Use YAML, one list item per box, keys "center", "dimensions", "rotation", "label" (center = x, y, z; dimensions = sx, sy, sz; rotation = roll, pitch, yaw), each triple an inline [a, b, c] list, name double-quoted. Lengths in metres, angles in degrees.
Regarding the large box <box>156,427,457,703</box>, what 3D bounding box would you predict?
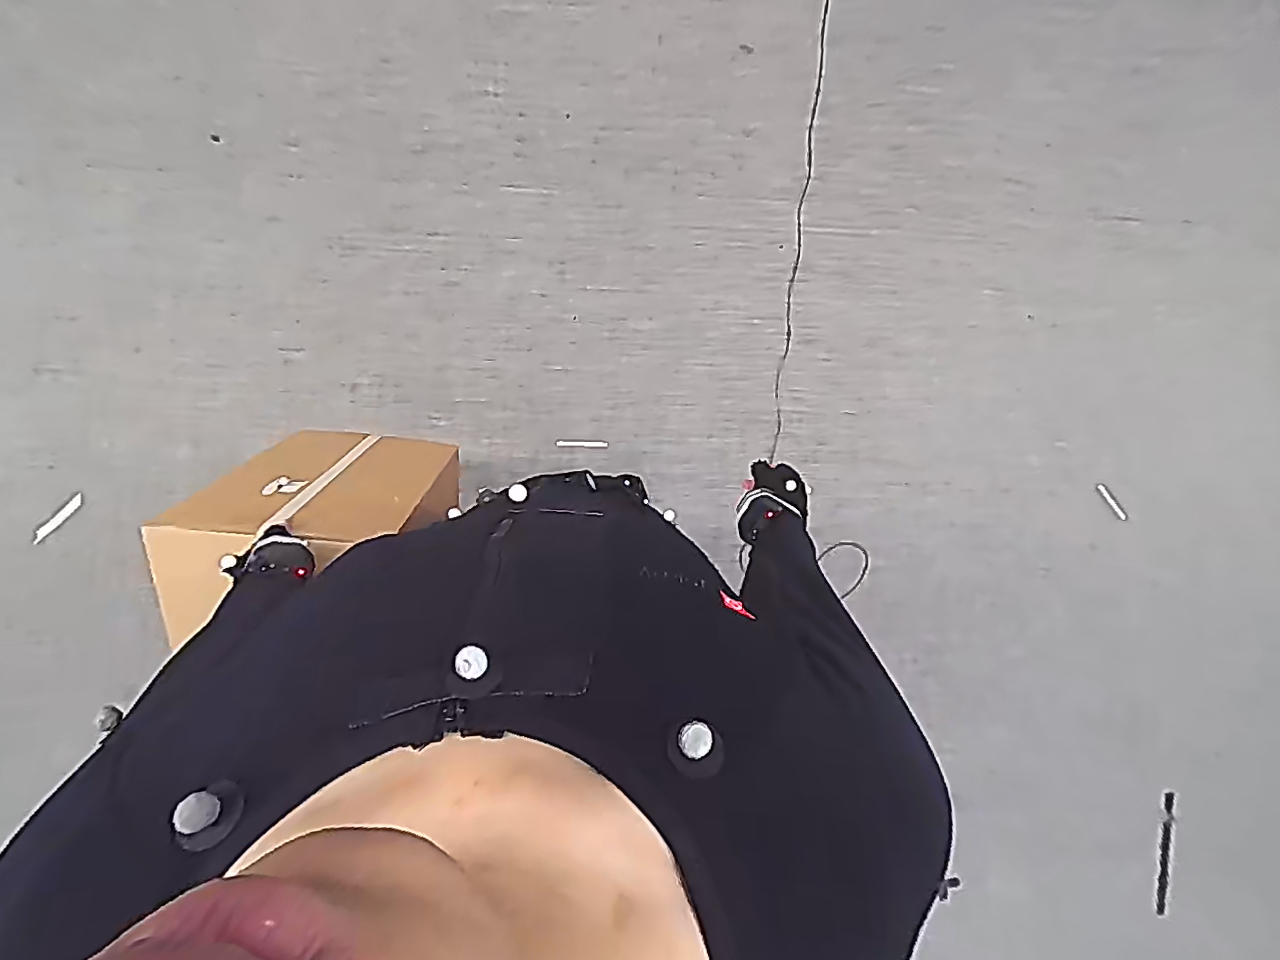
- center: [-0.534, 0.129, 0.978]
  dimensions: [0.320, 0.408, 0.320]
  rotation: [5, 115, -5]
  label: "large box"
